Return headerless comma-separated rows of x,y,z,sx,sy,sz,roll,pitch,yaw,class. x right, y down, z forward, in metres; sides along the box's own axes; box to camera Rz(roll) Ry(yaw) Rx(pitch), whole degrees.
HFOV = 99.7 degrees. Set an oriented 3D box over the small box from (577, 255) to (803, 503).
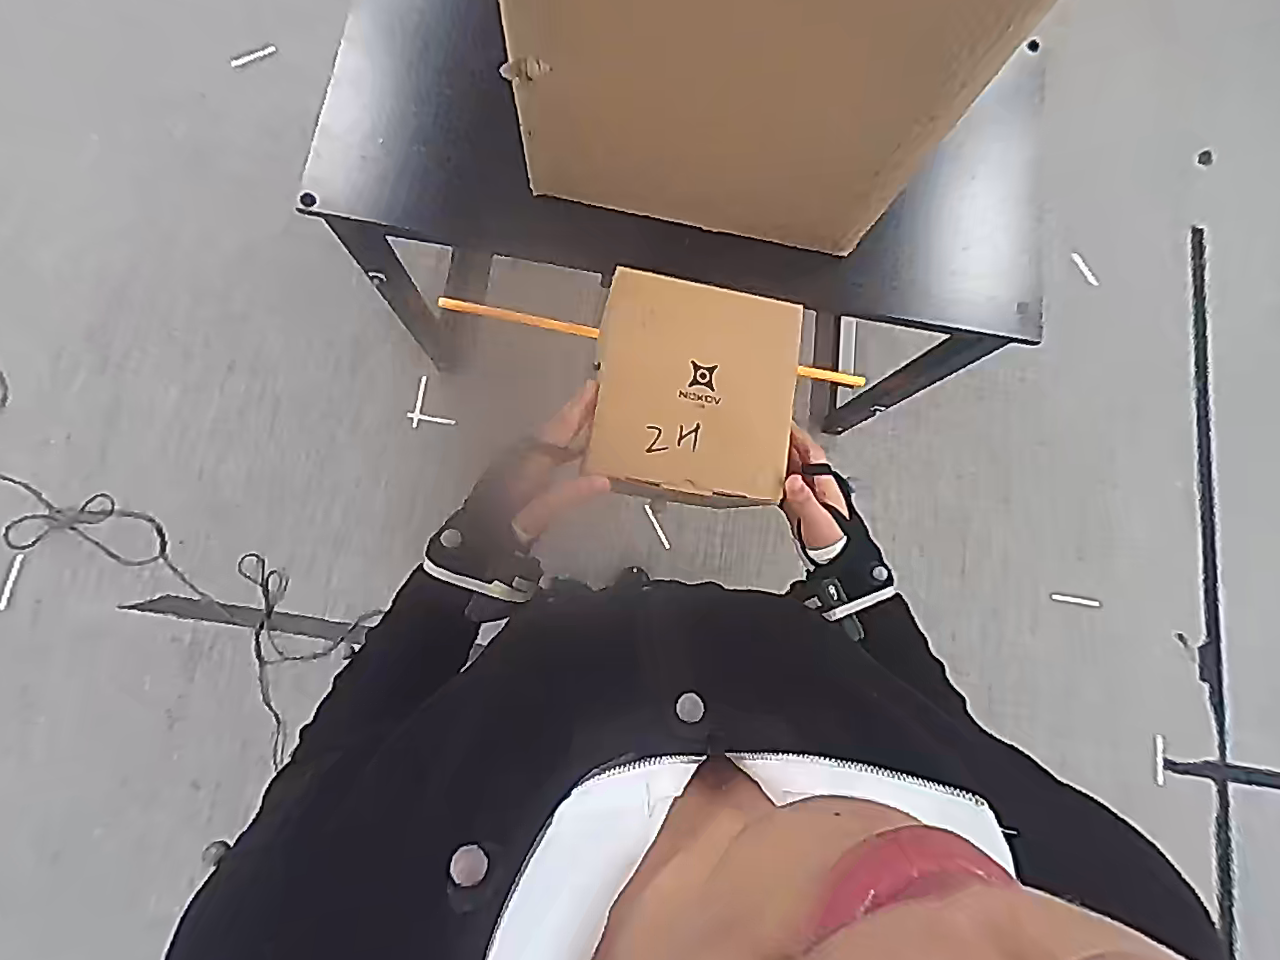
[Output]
0.034,-0.078,0.516,0.168,0.176,0.179,9,84,-9,small box
